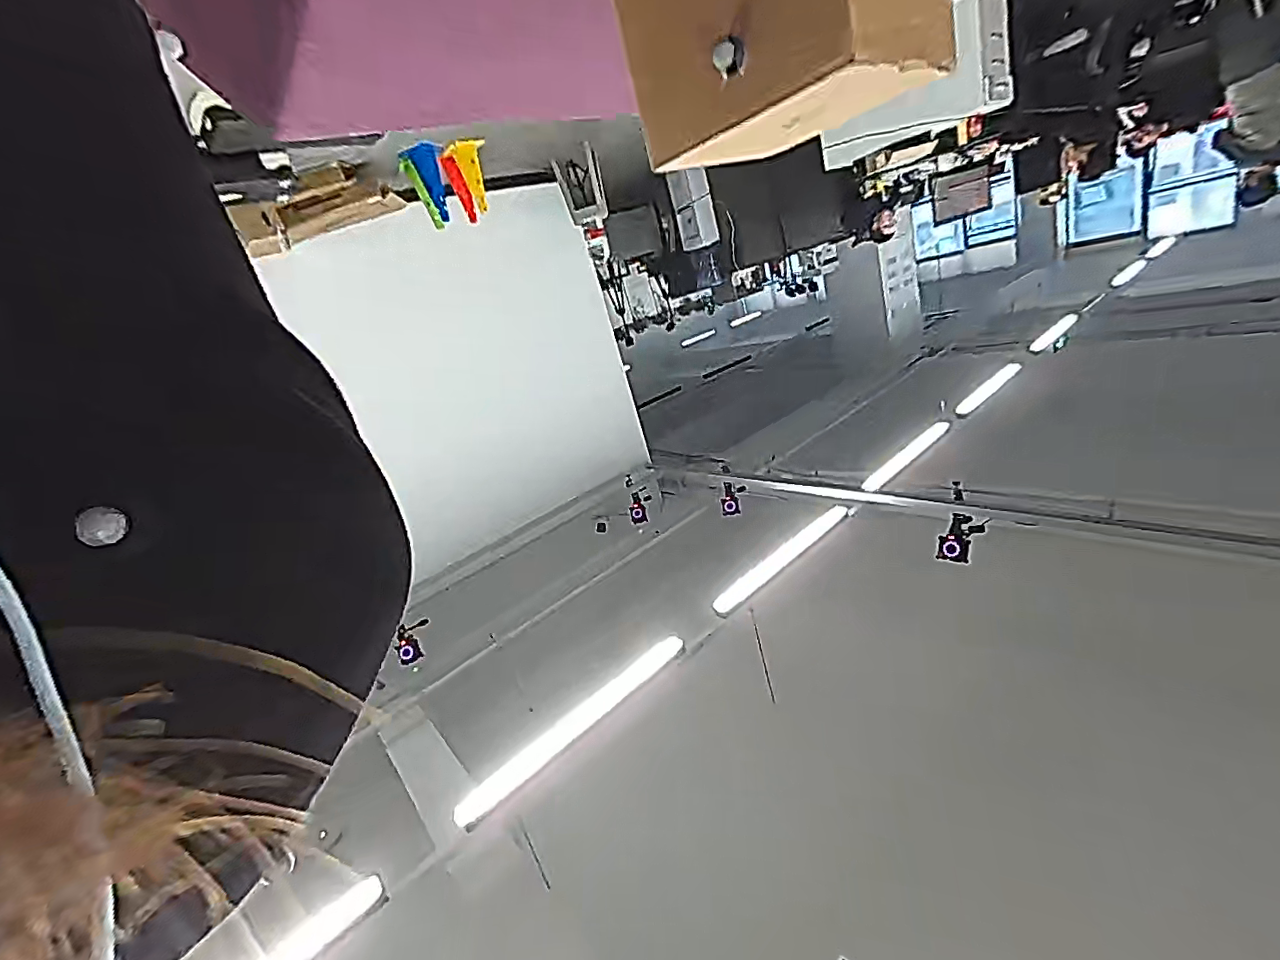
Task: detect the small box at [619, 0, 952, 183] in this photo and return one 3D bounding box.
[{"bbox_3d":[0.101,-0.342,0.395,0.168,0.176,0.179,-31,-157,-35],"label":"small box"}]
